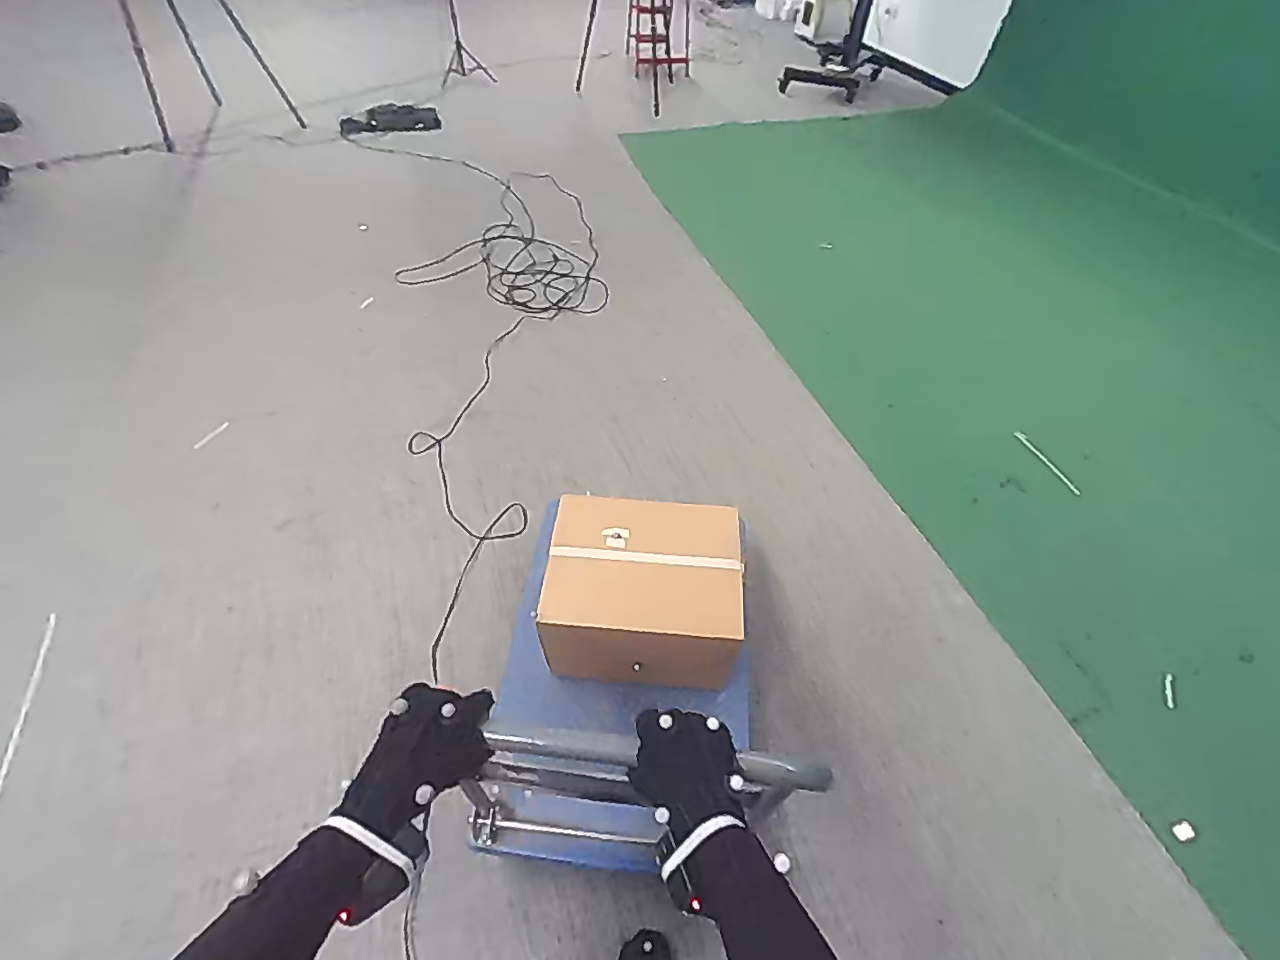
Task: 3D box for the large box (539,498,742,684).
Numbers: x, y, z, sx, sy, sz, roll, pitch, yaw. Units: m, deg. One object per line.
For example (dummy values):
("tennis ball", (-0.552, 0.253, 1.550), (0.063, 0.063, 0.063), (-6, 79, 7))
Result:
("large box", (0.009, 0.264, 1.255), (0.408, 0.320, 0.320), (4, 51, 2))
